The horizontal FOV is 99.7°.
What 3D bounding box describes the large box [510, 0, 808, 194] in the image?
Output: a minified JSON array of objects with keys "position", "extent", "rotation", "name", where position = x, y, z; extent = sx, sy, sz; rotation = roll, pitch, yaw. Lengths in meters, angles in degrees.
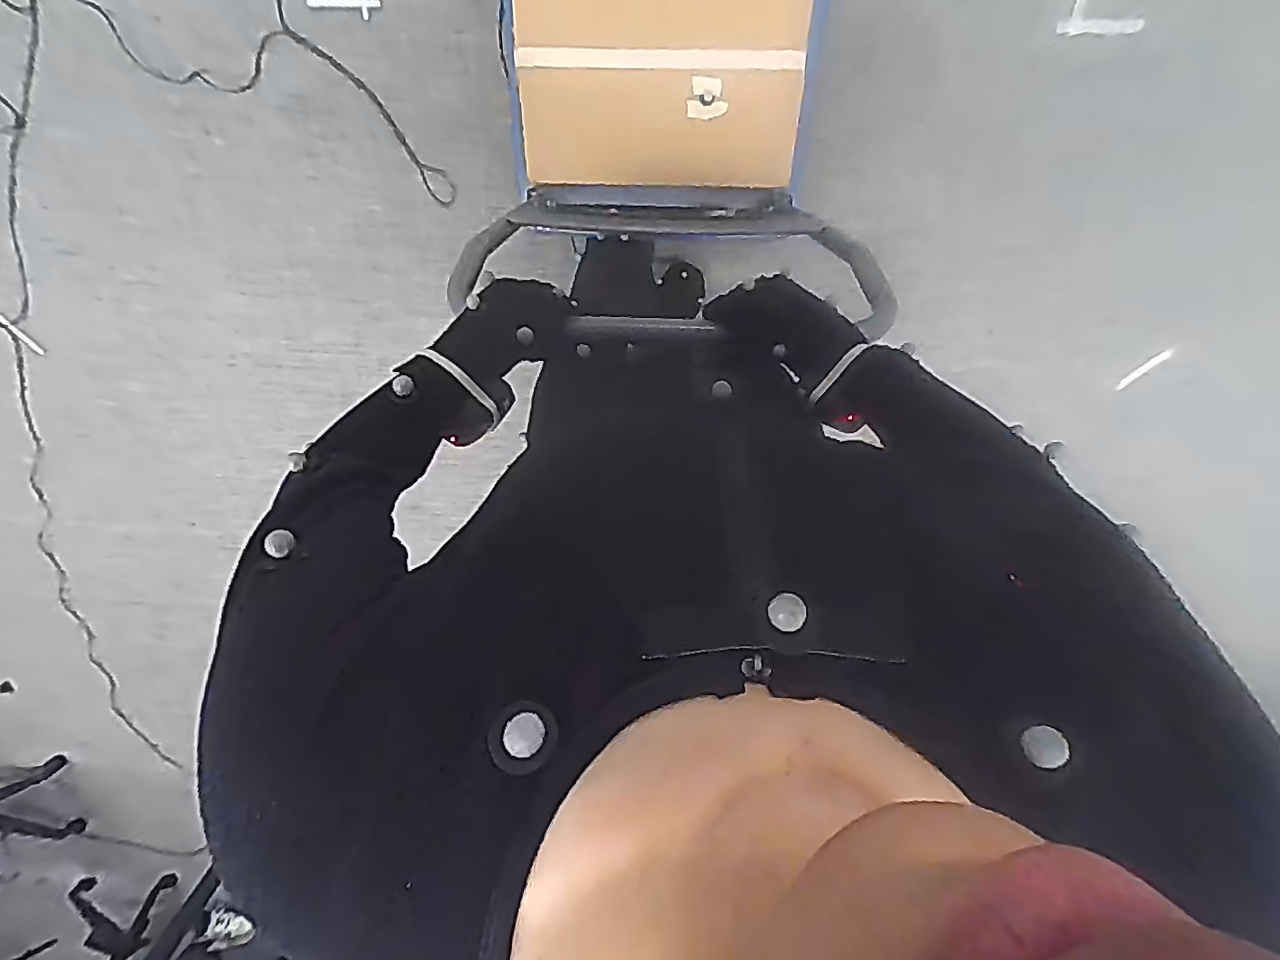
[{"position":[0.023,-0.651,0.883],"extent":[0.408,0.320,0.320],"rotation":[0,121,-1],"name":"large box"}]
